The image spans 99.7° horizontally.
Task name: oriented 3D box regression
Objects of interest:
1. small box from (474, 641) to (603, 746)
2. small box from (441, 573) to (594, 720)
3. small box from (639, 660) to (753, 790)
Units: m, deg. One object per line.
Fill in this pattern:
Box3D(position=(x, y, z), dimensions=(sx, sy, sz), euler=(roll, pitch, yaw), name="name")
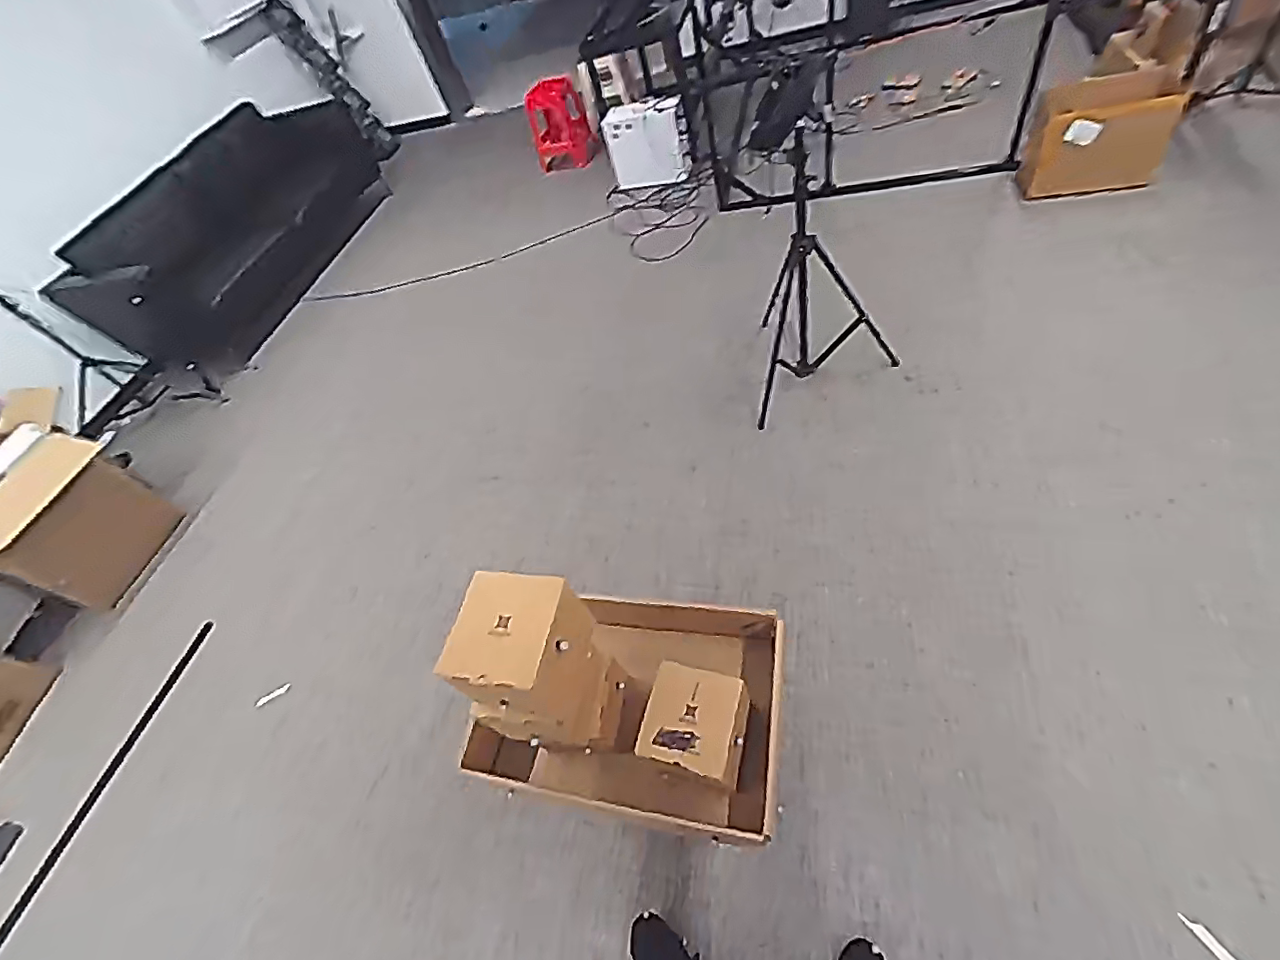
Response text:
Box3D(position=(-0.176, 0.379, 1.009), dimensions=(0.168, 0.176, 0.179), euler=(-2, 54, 15), name="small box")
Box3D(position=(-0.186, 0.272, 0.883), dimensions=(0.168, 0.176, 0.179), euler=(1, 54, 17), name="small box")
Box3D(position=(0.118, 0.476, 1.046), dimensions=(0.168, 0.176, 0.179), euler=(6, 56, 23), name="small box")
